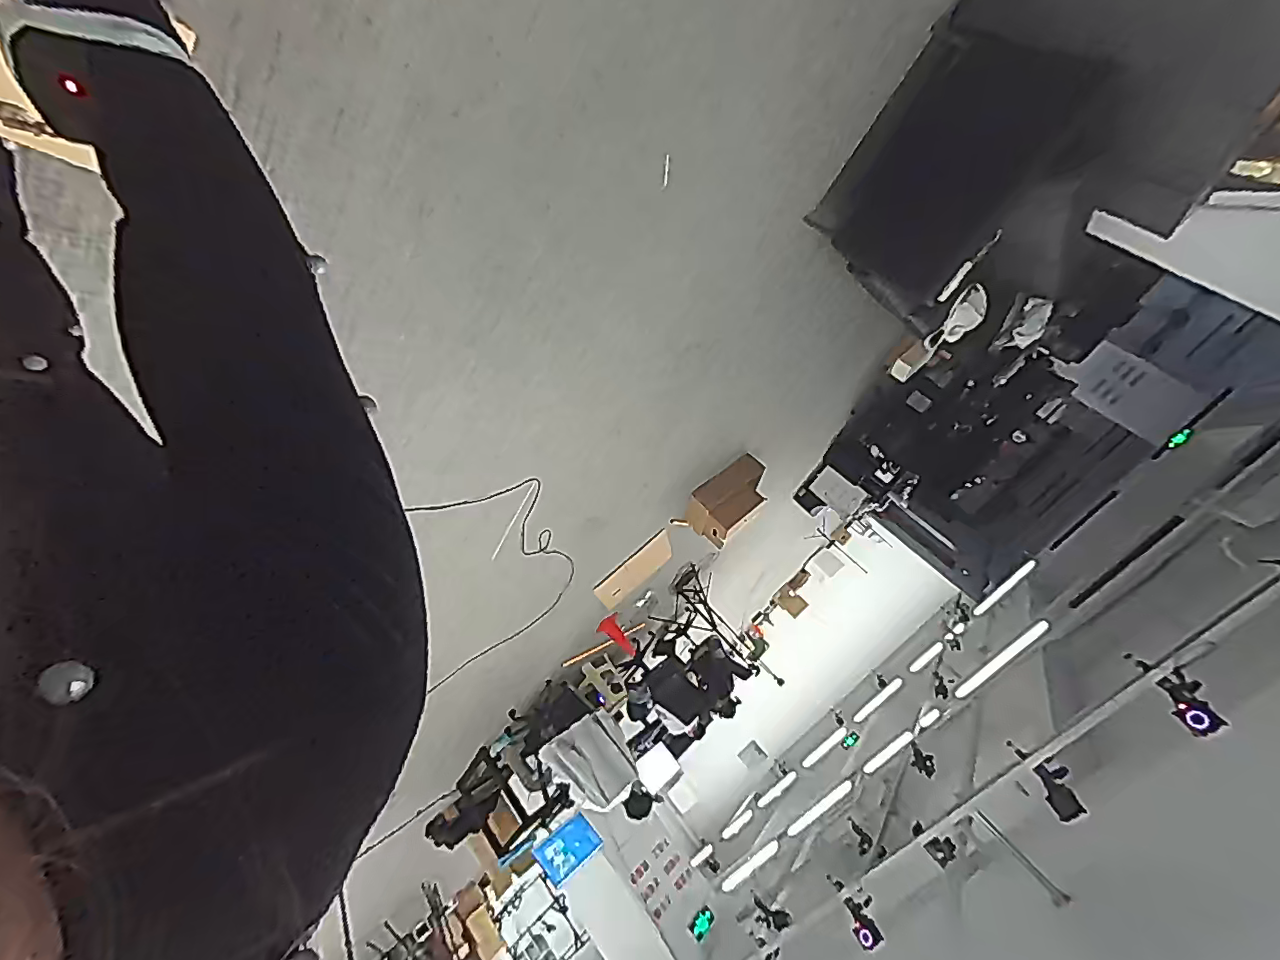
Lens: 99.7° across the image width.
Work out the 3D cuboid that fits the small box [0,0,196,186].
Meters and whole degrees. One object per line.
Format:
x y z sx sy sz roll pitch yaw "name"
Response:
-0.587 -0.441 0.533 0.179 0.176 0.168 -56 154 17 "small box"
